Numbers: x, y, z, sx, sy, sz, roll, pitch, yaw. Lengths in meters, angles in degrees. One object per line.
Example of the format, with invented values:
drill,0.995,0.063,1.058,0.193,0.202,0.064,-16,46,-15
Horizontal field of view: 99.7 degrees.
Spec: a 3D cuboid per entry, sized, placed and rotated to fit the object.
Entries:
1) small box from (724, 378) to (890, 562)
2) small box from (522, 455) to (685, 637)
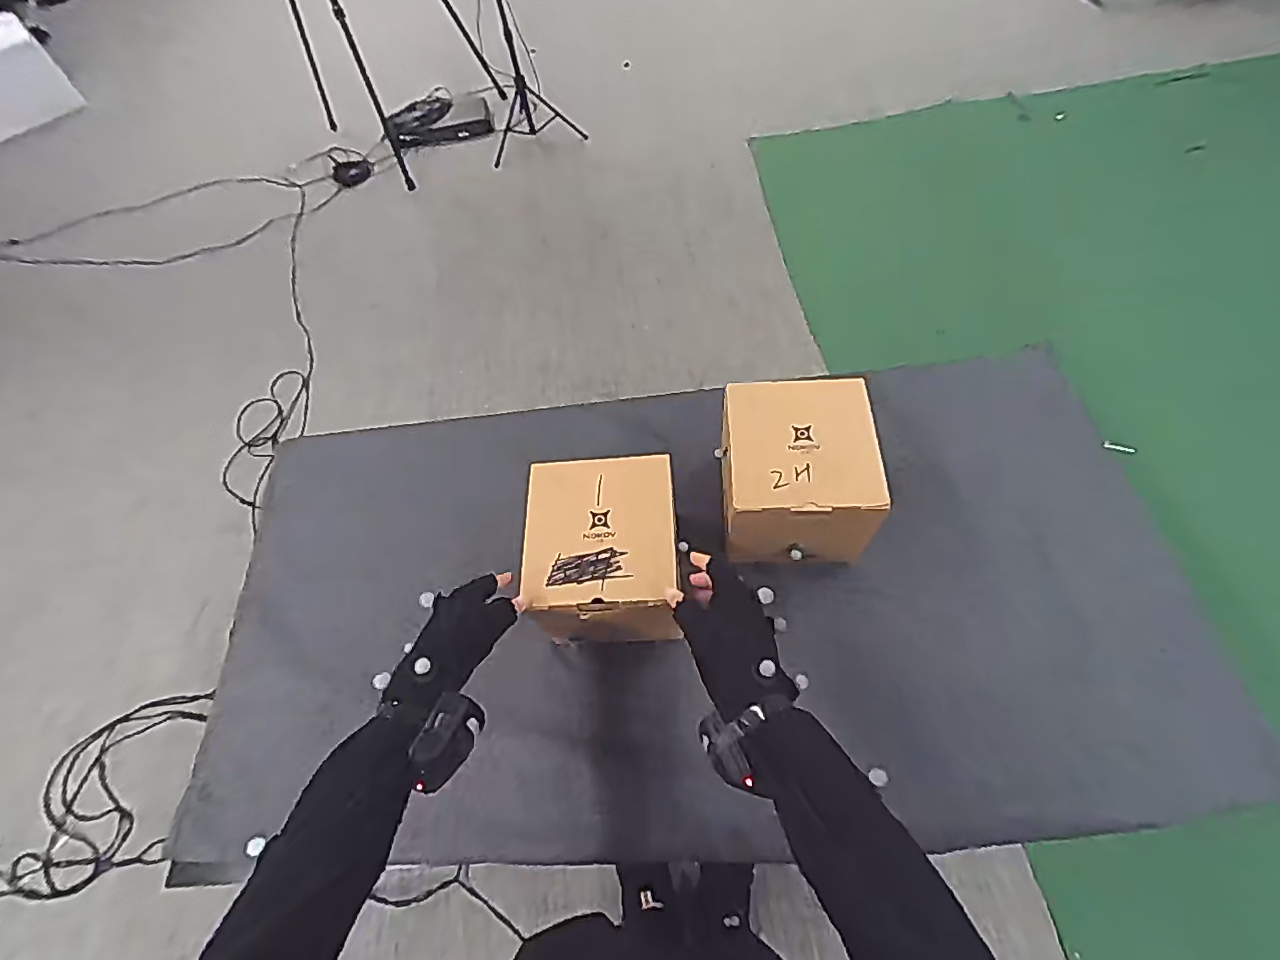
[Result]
small box,0.195,-0.007,0.686,0.168,0.176,0.179,-1,62,7
small box,-0.033,0.089,0.661,0.168,0.176,0.179,-4,60,5
